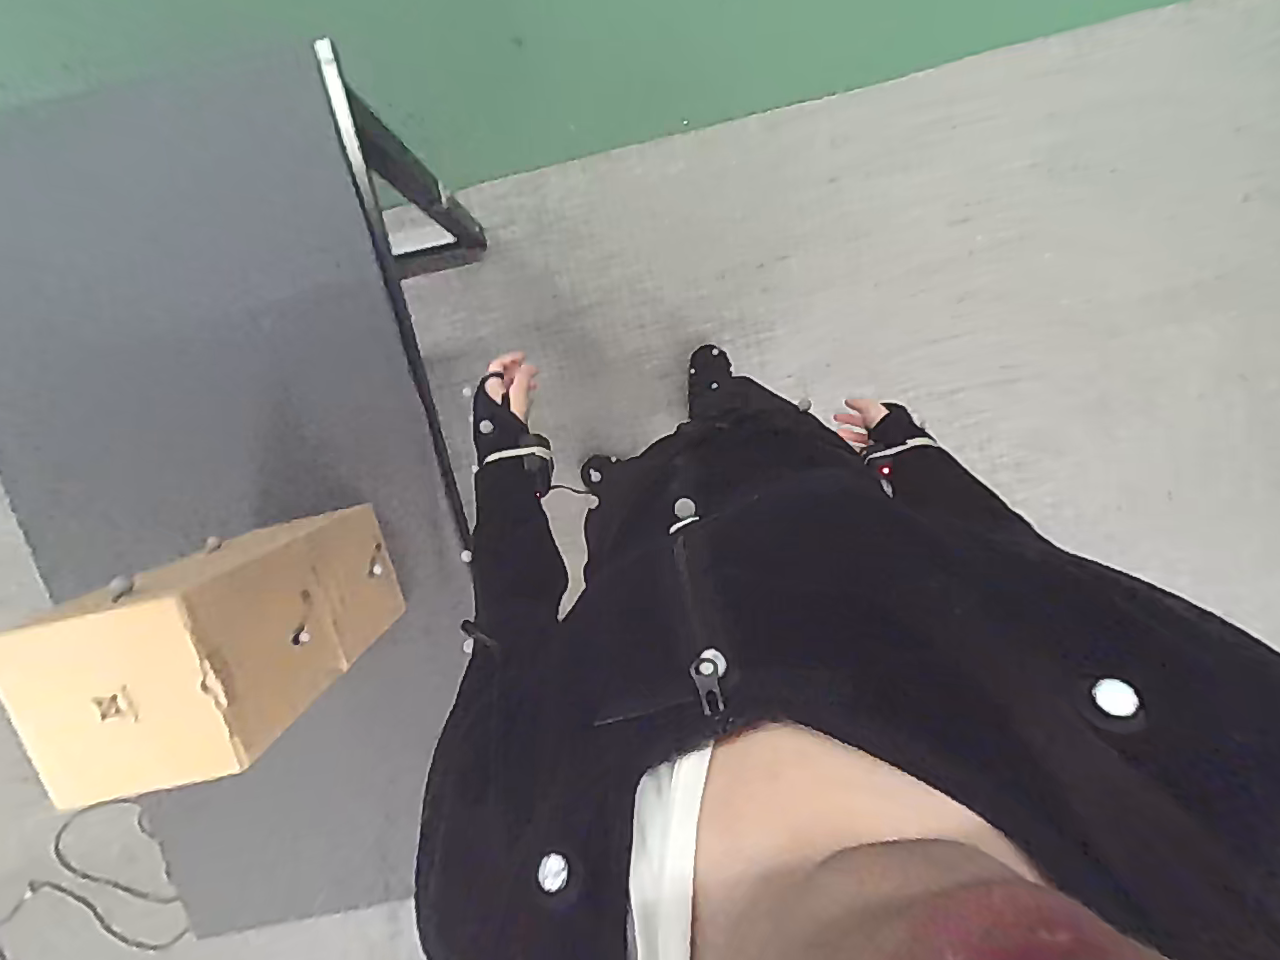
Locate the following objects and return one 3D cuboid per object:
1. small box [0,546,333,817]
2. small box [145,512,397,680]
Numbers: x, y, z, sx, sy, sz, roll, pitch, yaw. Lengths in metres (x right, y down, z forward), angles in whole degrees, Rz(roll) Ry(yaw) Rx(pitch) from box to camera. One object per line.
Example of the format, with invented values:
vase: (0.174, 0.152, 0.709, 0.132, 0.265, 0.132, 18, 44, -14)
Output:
small box: (-0.443, 0.176, 0.521, 0.179, 0.176, 0.168, -13, 99, 2)
small box: (-0.444, 0.150, 0.681, 0.179, 0.176, 0.168, -13, 100, 2)
